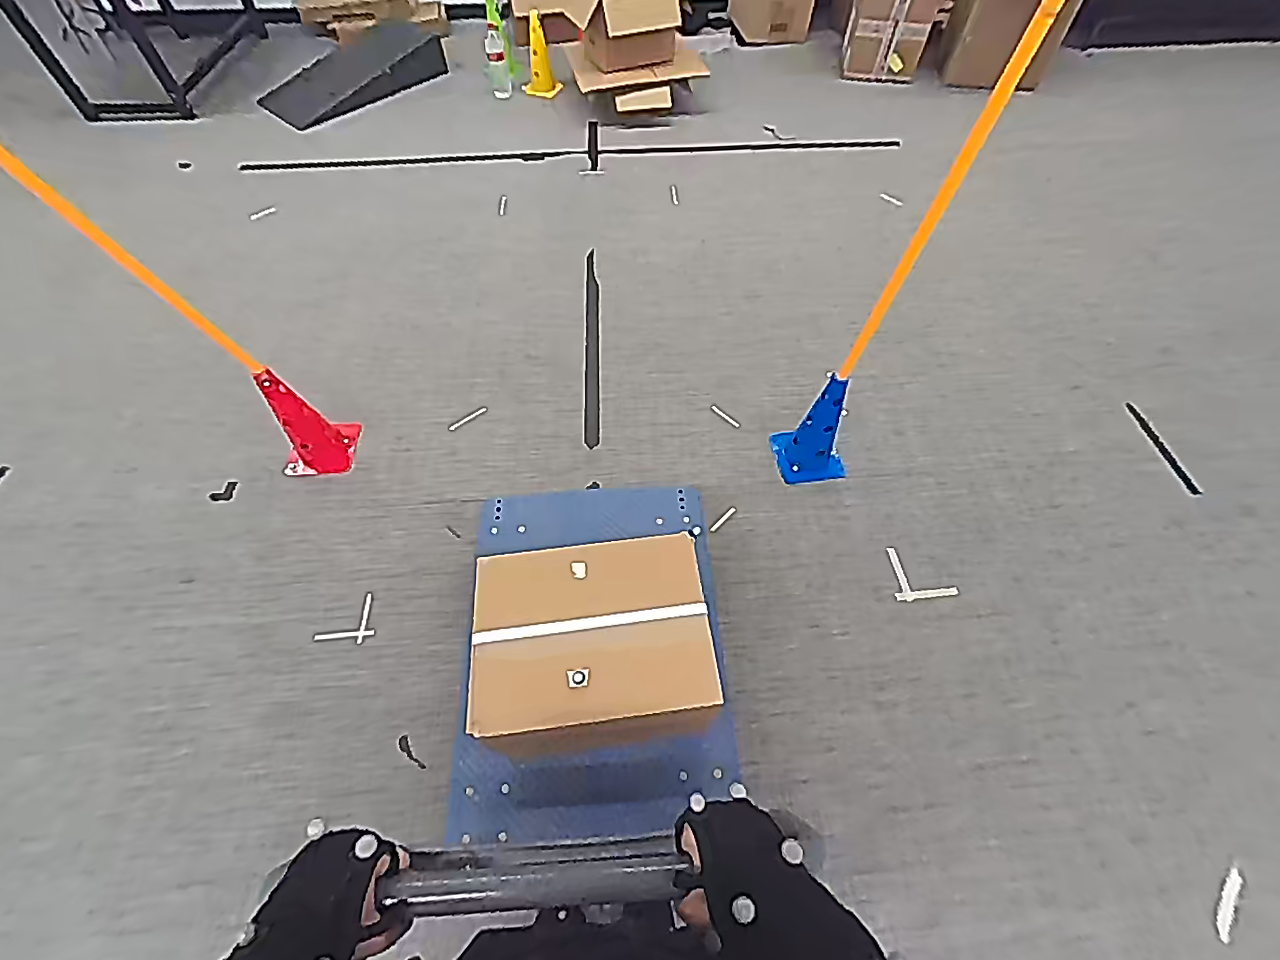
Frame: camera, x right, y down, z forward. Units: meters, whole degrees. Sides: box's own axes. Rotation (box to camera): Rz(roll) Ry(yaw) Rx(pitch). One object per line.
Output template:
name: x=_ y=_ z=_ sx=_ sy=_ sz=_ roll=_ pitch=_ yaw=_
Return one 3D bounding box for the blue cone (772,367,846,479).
blue cone: x=0.532 y=-0.176 z=1.585 sx=0.193 sy=0.380 sz=0.192 roll=-6 pitch=56 yaw=-4
